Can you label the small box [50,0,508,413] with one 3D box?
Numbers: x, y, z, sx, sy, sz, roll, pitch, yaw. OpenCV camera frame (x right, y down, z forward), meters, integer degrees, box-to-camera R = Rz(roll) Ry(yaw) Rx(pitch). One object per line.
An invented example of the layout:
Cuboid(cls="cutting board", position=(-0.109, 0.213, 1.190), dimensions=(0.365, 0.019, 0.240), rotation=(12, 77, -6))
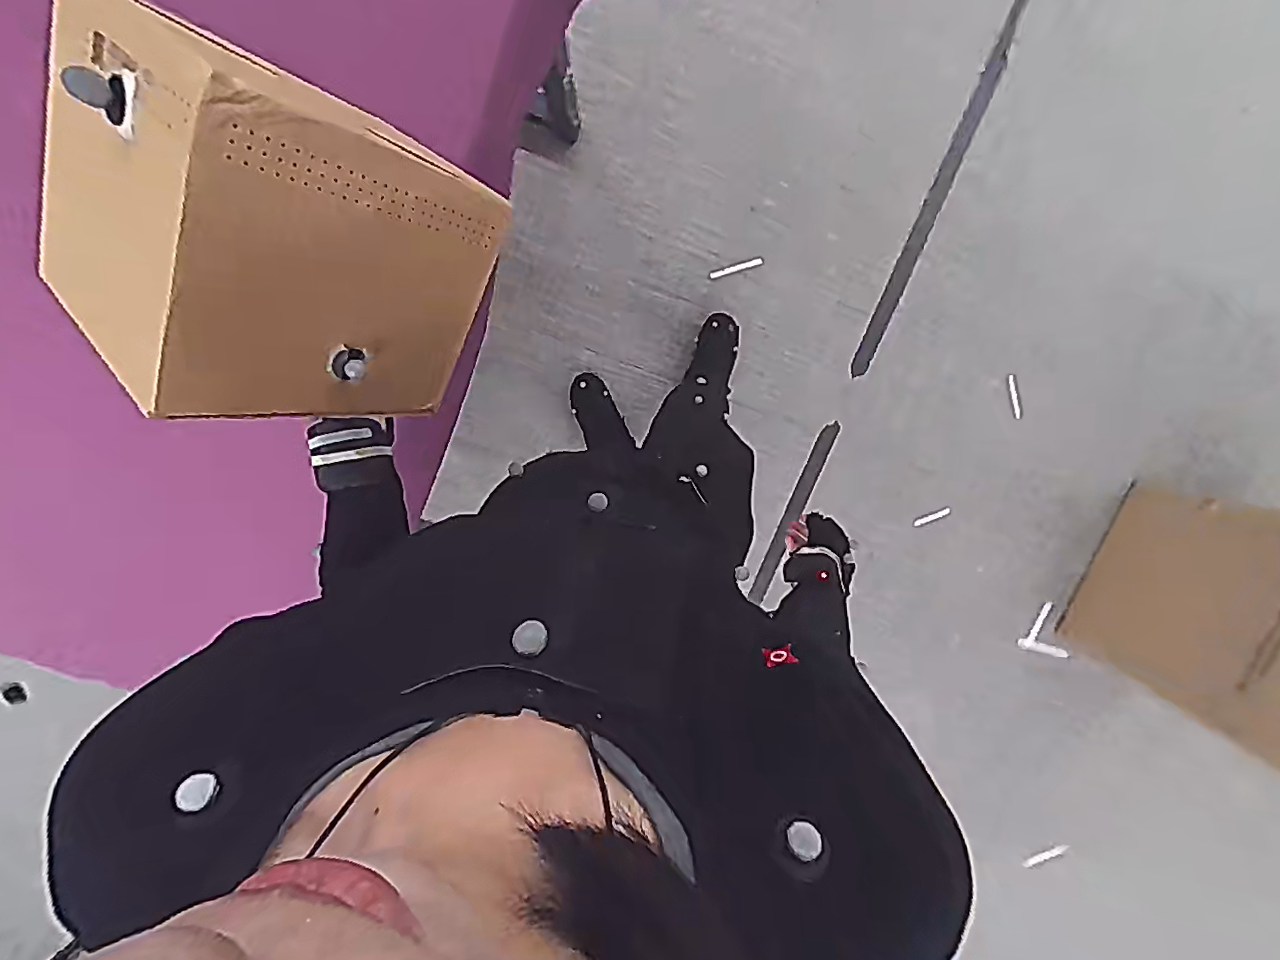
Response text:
Cuboid(cls="small box", position=(-0.215, -0.158, 0.338), dimensions=(0.168, 0.179, 0.176), rotation=(39, 113, 22))
